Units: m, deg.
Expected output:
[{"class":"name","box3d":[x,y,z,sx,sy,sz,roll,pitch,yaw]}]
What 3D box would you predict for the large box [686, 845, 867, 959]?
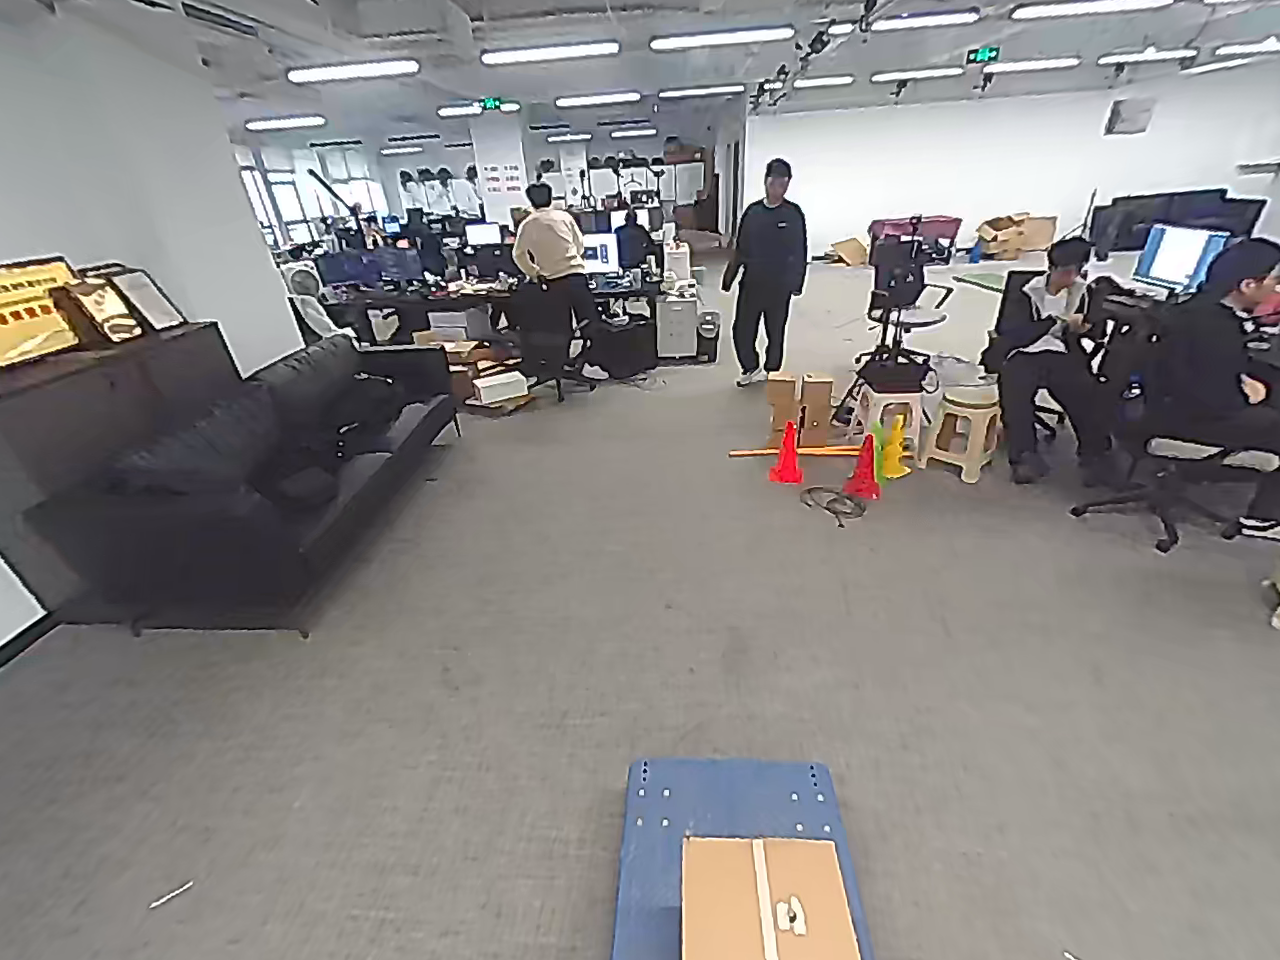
[{"class":"large box","box3d":[0.251,0.974,0.997,0.320,0.320,0.408,-1,28,5]}]
